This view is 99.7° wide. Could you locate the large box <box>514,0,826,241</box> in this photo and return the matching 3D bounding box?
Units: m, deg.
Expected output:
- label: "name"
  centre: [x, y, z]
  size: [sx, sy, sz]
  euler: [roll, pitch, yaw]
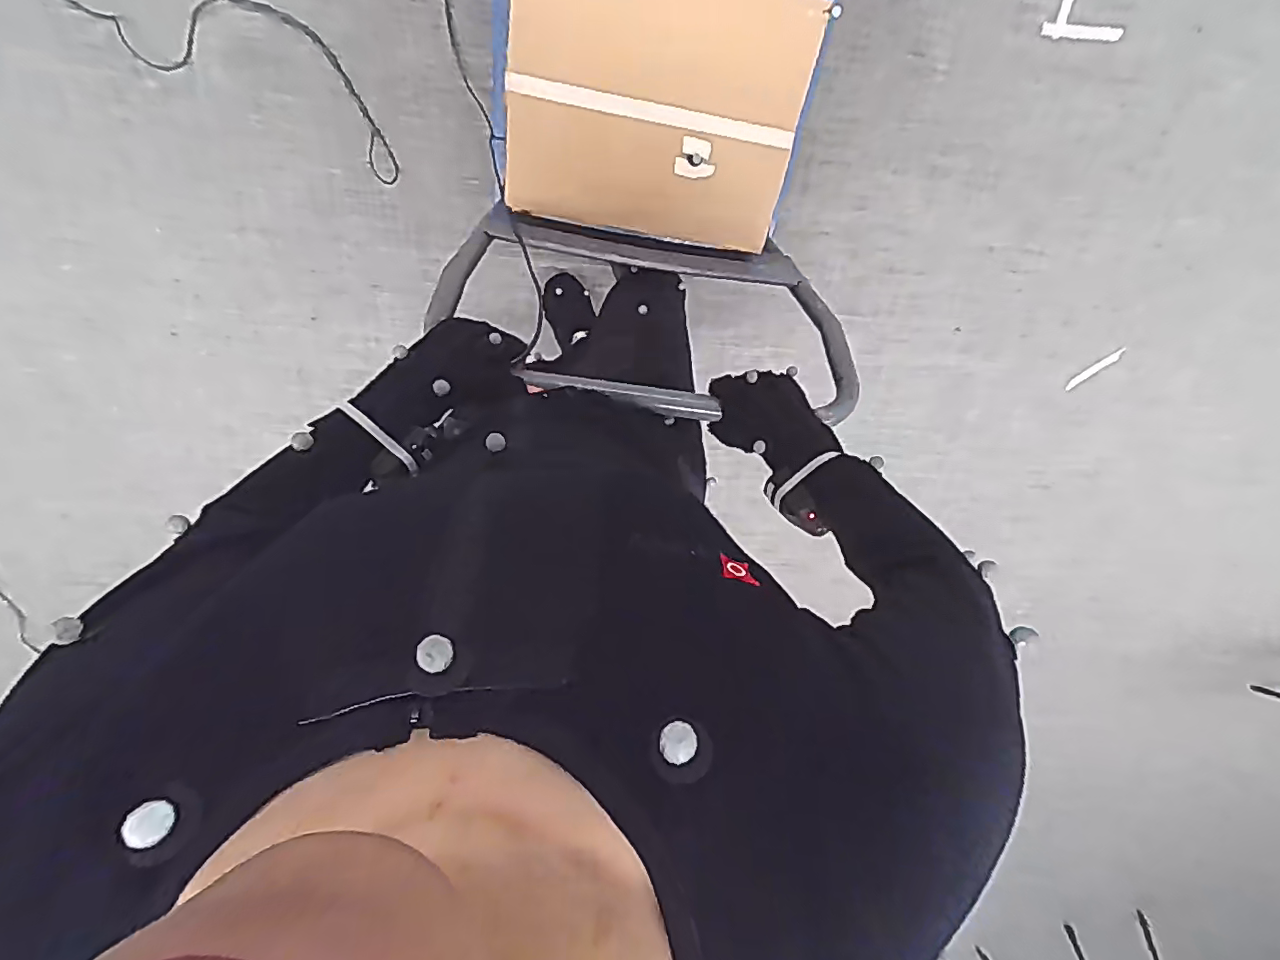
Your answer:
- label: "large box"
  centre: [0.016, -0.613, 0.884]
  size: [0.408, 0.320, 0.320]
  euler: [6, 125, -8]
